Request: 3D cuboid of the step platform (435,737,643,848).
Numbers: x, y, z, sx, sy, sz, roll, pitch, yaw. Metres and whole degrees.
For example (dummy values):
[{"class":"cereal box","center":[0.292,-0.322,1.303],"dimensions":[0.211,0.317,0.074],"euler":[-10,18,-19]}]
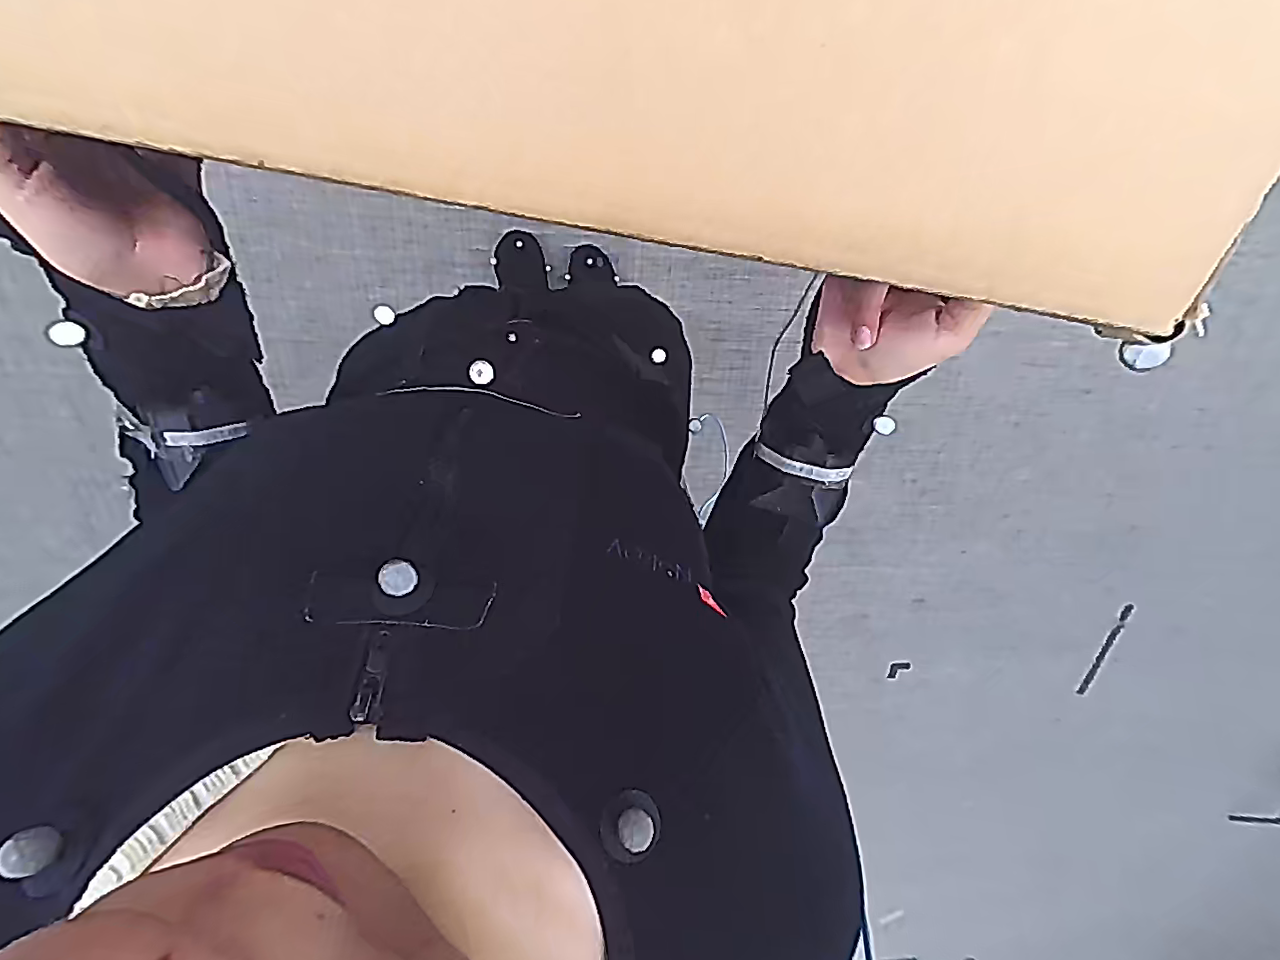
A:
[{"class":"step platform","center":[-0.331,1.062,1.829],"dimensions":[0.684,0.204,0.286],"euler":[6,115,-6]}]
